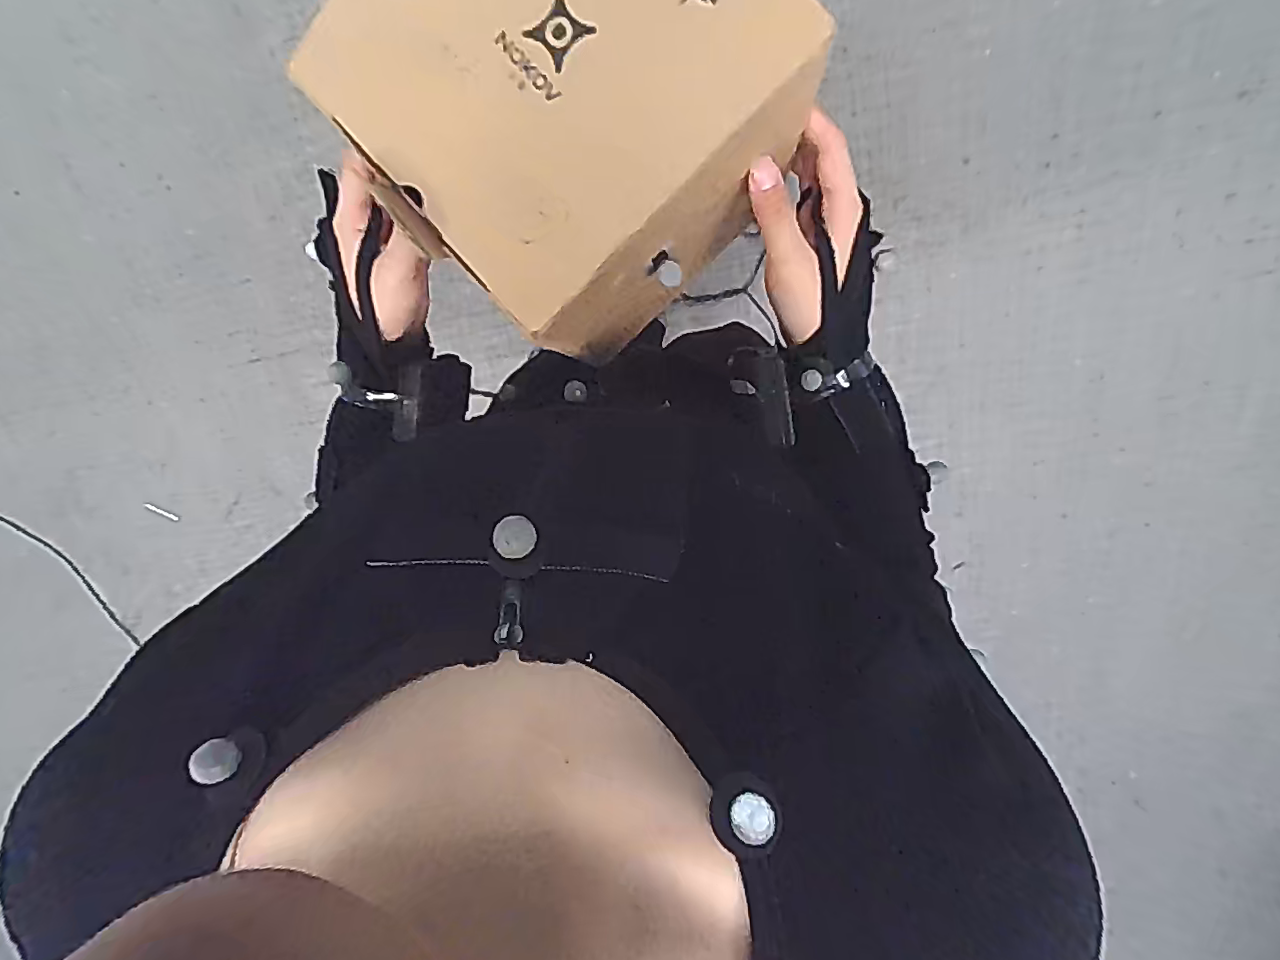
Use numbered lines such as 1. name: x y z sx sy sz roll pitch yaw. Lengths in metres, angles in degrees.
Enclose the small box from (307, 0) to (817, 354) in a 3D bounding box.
1. small box: -0.030 -0.192 0.314 0.179 0.176 0.168 -43 91 11
